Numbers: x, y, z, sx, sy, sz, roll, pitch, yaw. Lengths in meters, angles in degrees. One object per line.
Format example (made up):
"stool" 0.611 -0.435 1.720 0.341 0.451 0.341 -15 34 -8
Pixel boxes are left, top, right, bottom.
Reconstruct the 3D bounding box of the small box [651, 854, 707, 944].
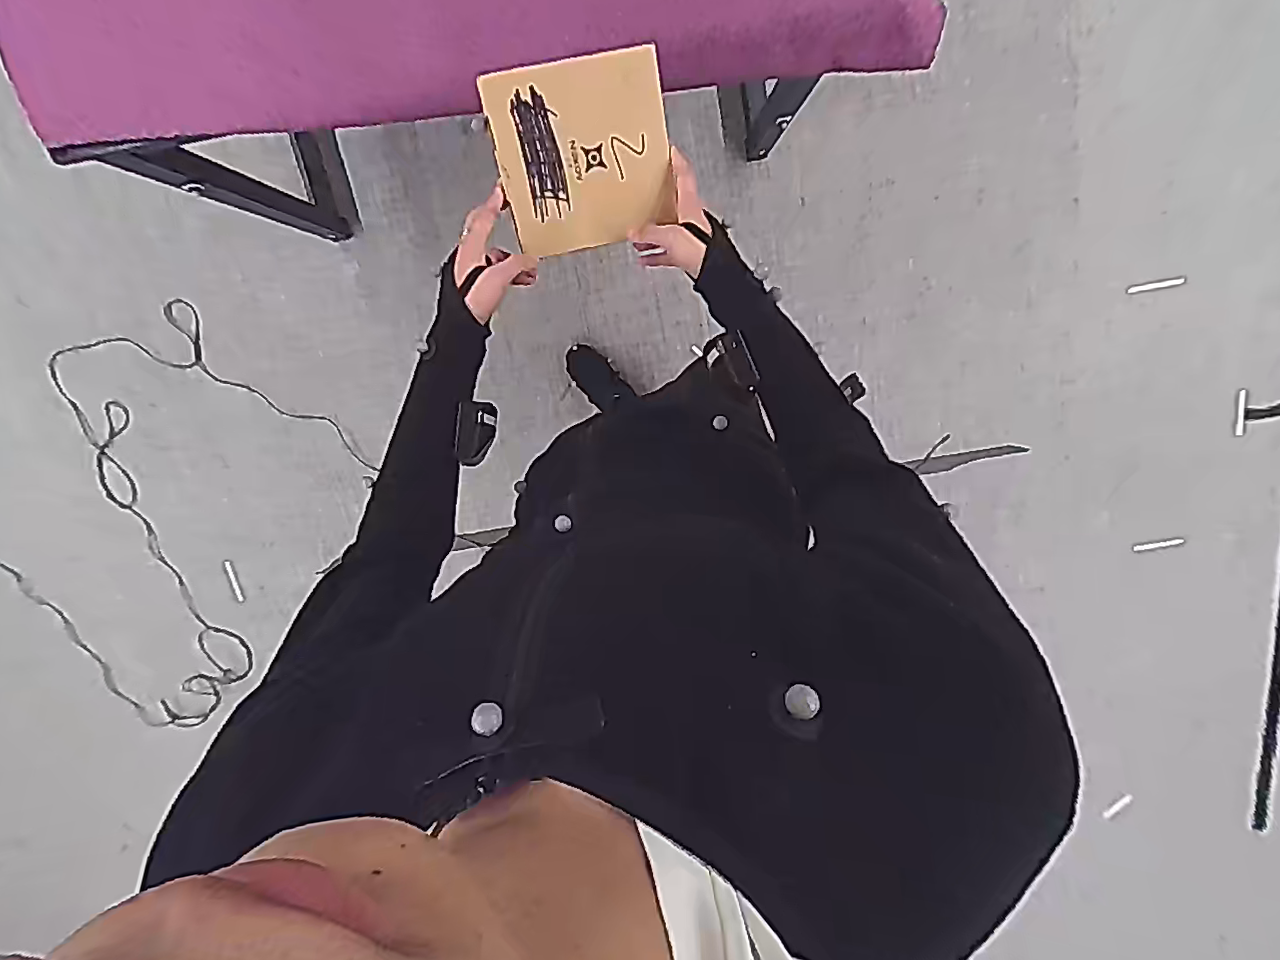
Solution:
"small box" 0.134 1.455 1.883 0.168 0.176 0.179 -11 101 2
